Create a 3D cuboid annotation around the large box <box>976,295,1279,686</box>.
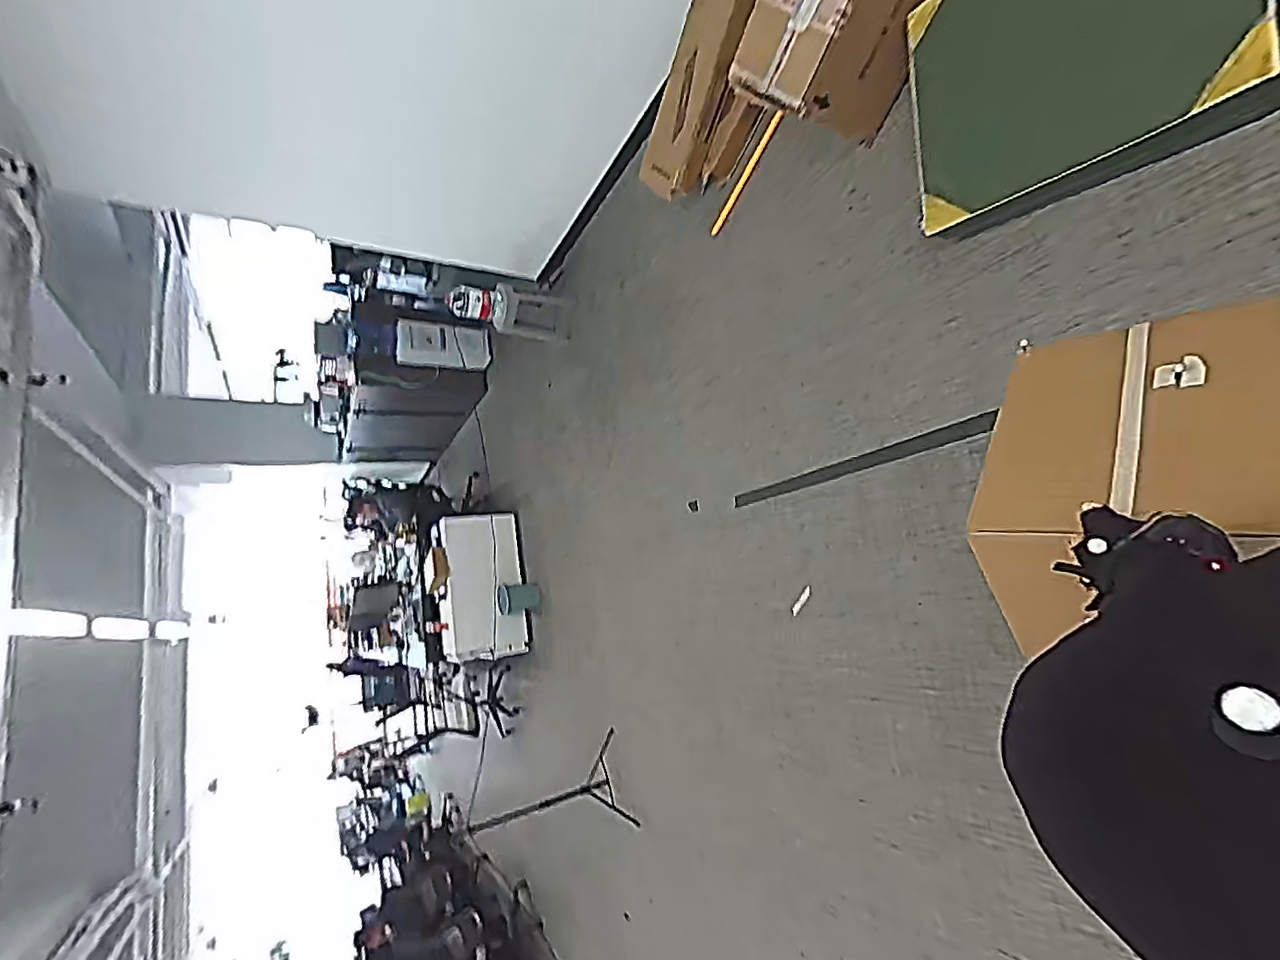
[{"bbox_3d":[0.725,0.015,0.762,0.320,0.408,0.320,-2,134,49],"label":"large box"}]
